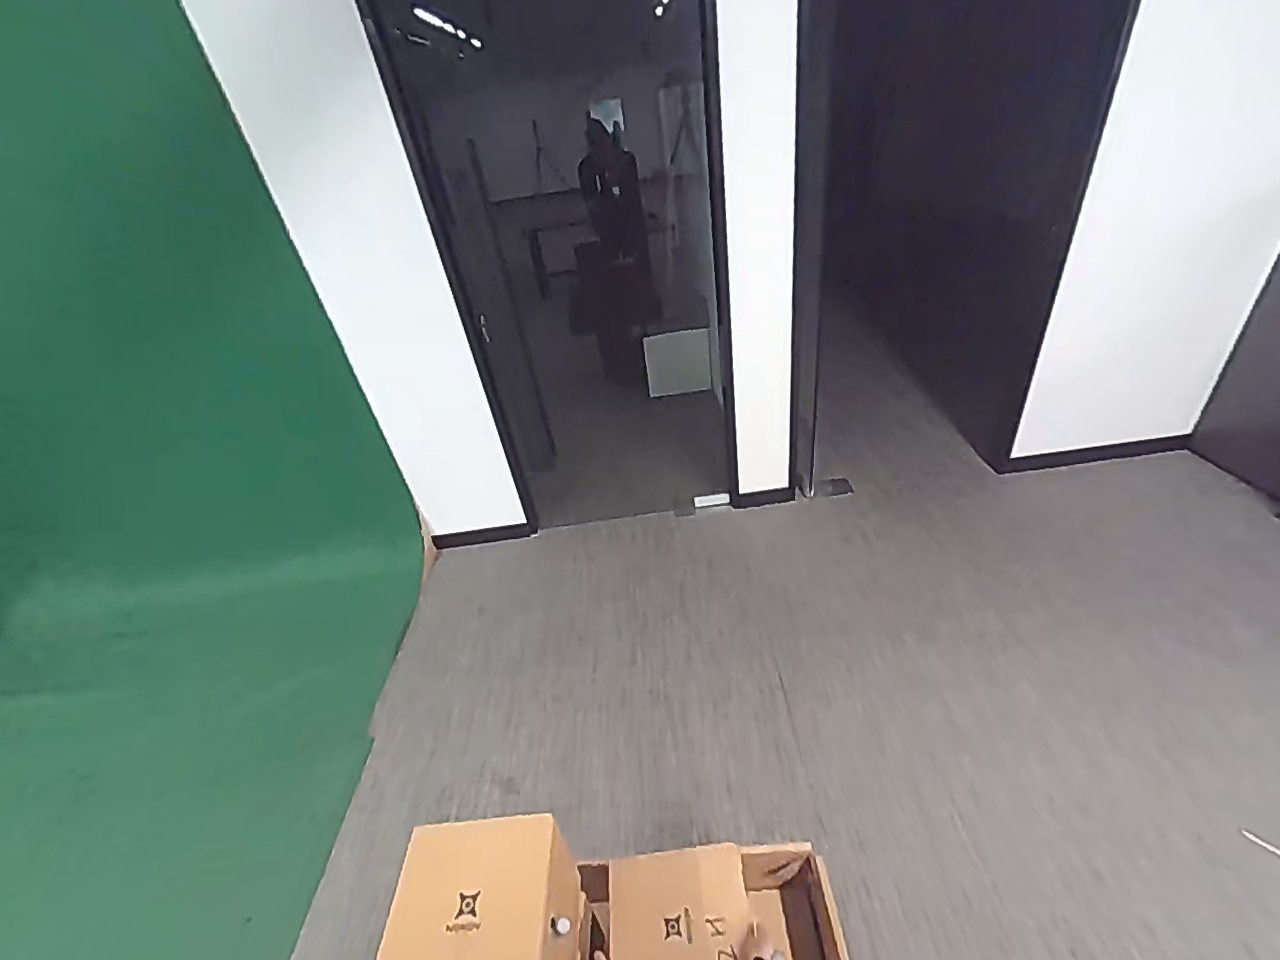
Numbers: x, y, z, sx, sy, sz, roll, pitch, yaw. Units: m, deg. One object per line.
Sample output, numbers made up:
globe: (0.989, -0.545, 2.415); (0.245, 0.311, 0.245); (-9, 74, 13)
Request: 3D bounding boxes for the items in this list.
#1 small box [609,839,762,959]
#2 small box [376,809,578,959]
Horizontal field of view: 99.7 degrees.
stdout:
small box: (0.062, 0.593, 0.687); (0.179, 0.176, 0.168); (-9, 34, 3)
small box: (-0.165, 0.499, 0.595); (0.168, 0.176, 0.179); (-7, 34, 2)
